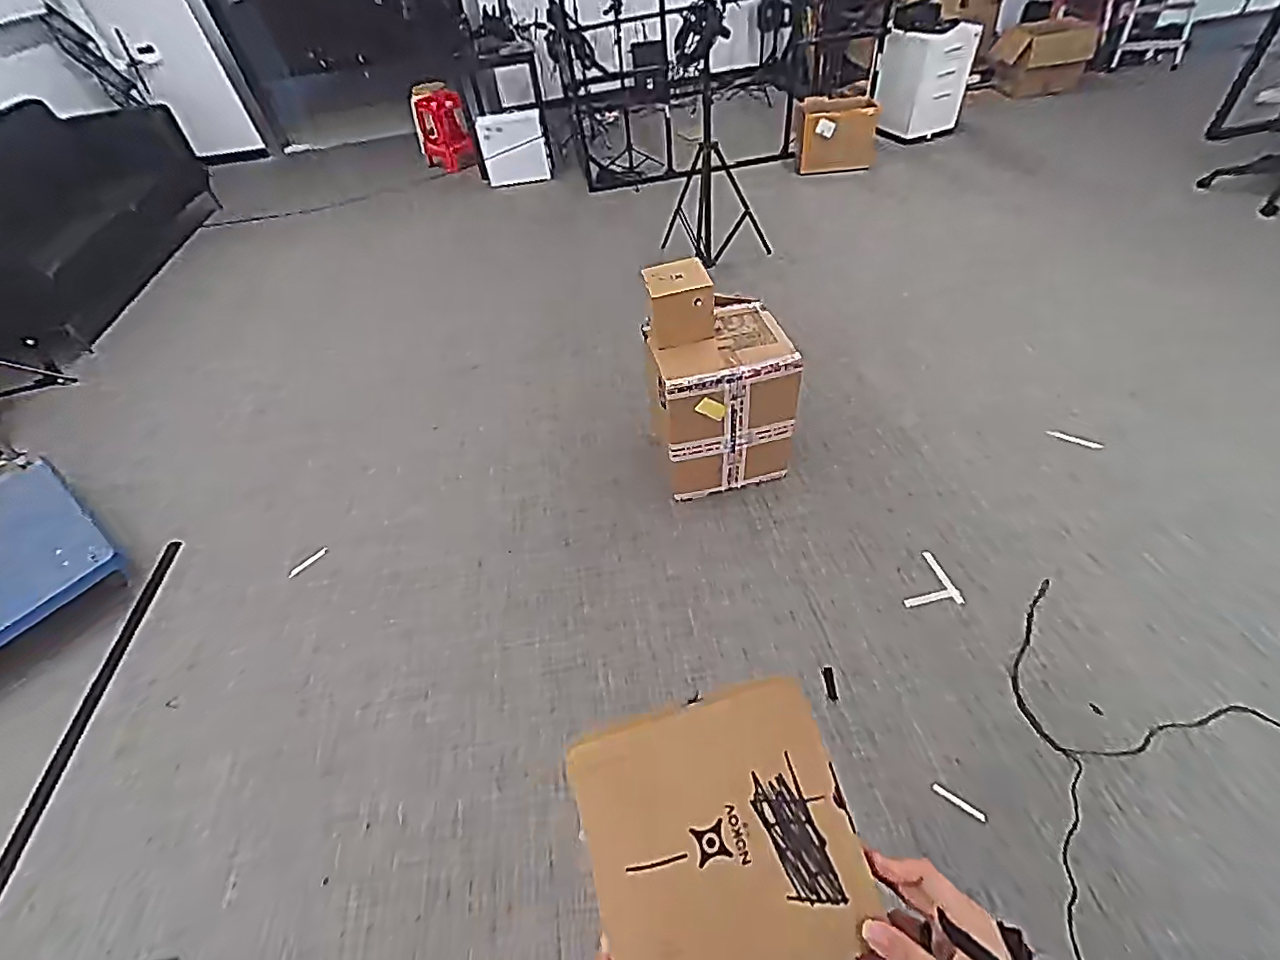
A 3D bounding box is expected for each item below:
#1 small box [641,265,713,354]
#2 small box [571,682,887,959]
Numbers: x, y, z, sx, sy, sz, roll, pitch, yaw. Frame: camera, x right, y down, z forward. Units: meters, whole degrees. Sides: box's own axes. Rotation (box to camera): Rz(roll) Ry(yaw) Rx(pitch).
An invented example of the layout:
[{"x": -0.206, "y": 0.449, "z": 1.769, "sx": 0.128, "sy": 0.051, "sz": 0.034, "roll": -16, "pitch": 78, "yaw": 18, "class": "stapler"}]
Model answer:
[{"x": 0.110, "y": -0.496, "z": 1.579, "sx": 0.179, "sy": 0.176, "sz": 0.168, "roll": -13, "pitch": 48, "yaw": -1, "class": "small box"}, {"x": 0.053, "y": 0.269, "z": 0.435, "sx": 0.179, "sy": 0.176, "sz": 0.168, "roll": -15, "pitch": 69, "yaw": -7, "class": "small box"}]
